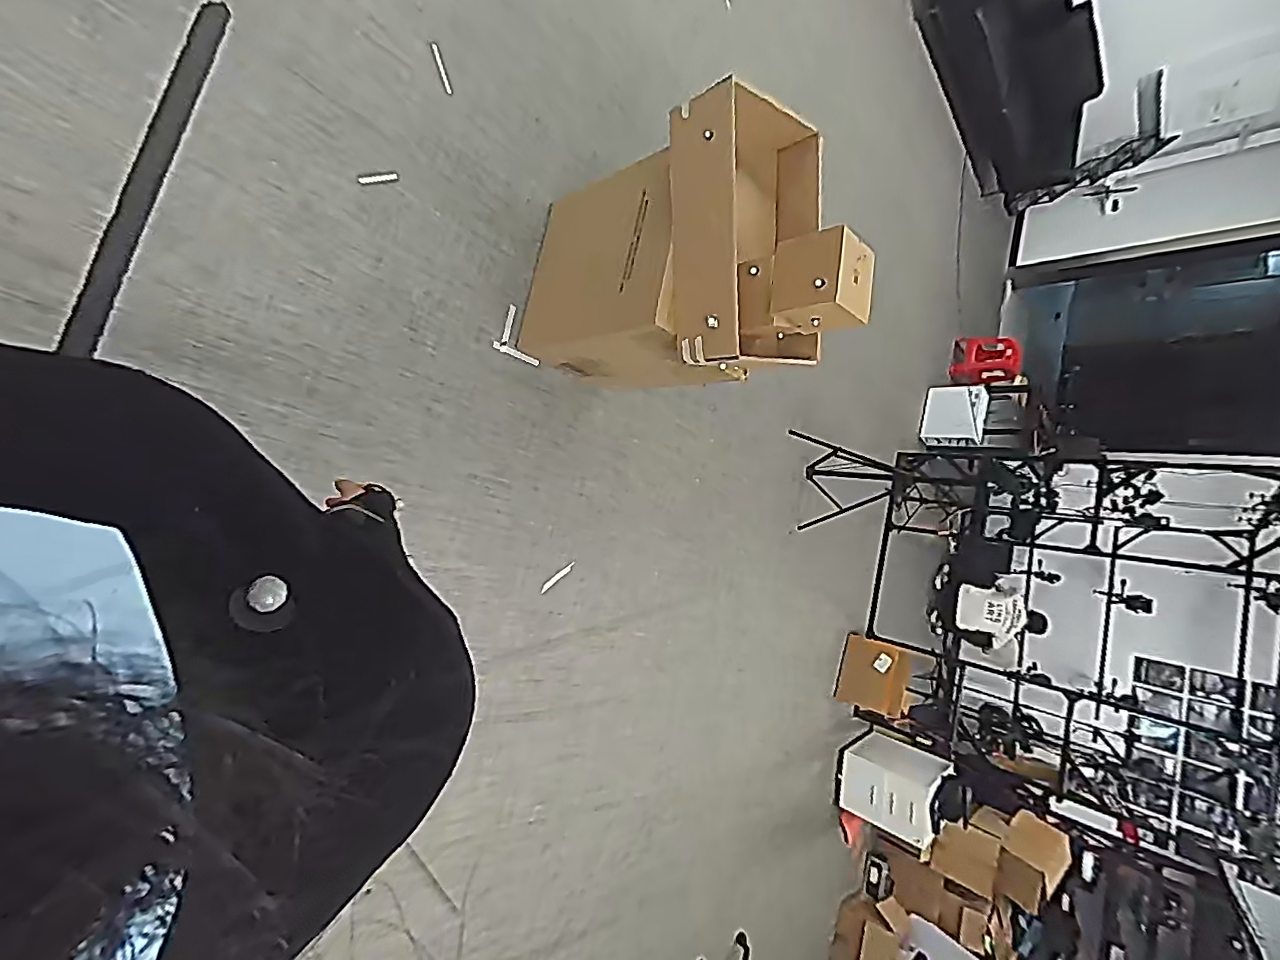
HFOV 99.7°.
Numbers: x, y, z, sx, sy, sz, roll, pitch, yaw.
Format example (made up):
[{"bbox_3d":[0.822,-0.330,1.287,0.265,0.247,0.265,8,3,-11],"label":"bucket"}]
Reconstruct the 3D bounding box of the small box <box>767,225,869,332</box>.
[{"bbox_3d":[0.419,-0.465,1.281,0.168,0.176,0.179,9,86,-45],"label":"small box"}]
